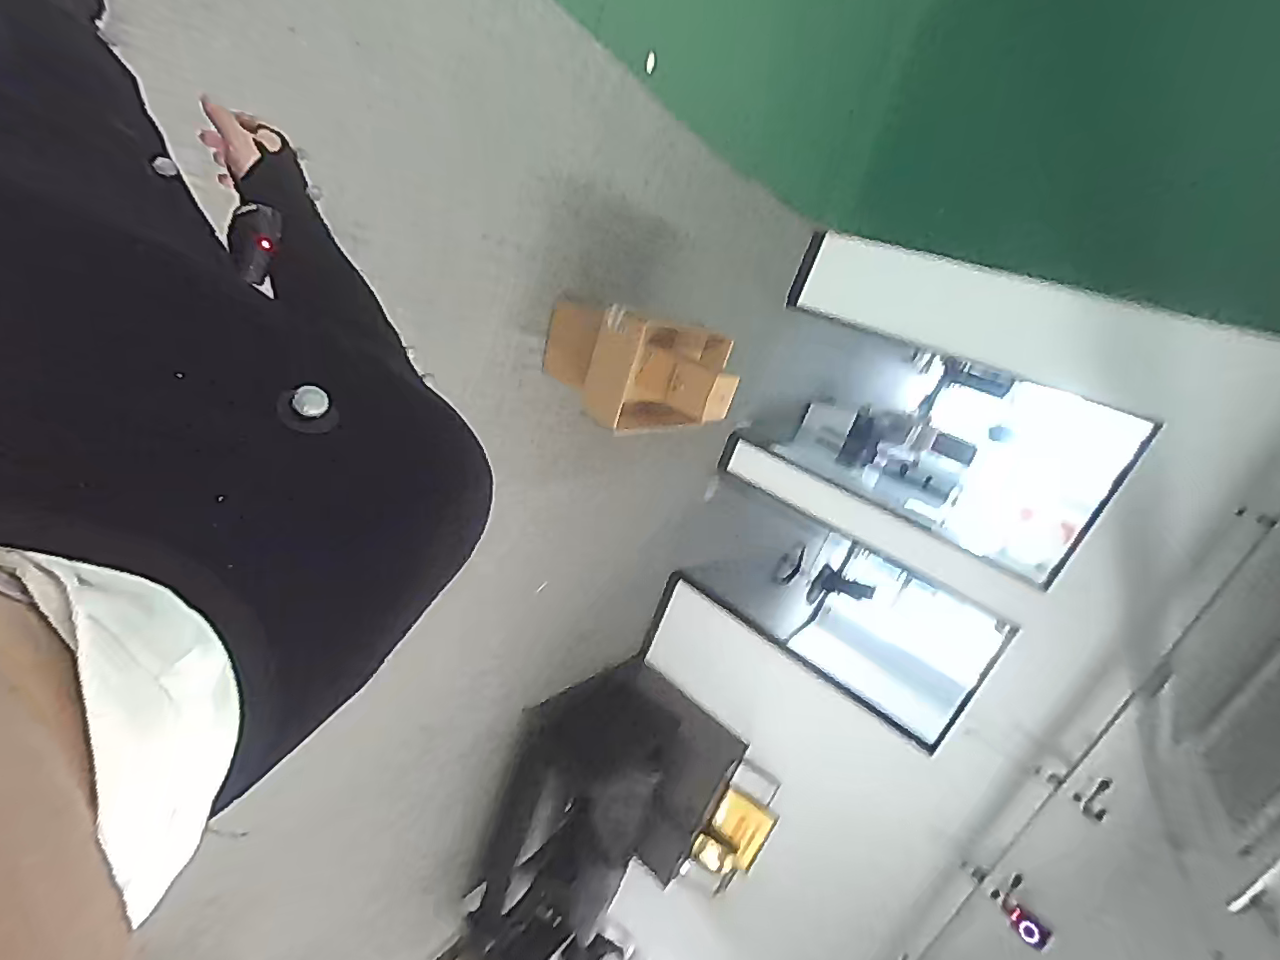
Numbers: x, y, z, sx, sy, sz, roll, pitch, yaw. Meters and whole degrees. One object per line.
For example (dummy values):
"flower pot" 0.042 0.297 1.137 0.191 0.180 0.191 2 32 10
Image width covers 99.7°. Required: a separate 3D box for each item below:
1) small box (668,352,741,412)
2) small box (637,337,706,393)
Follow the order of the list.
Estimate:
"small box" 0.231 -0.353 1.944 0.179 0.176 0.168 -12 126 -53
"small box" 0.114 -0.429 2.033 0.179 0.176 0.168 -11 126 -54
